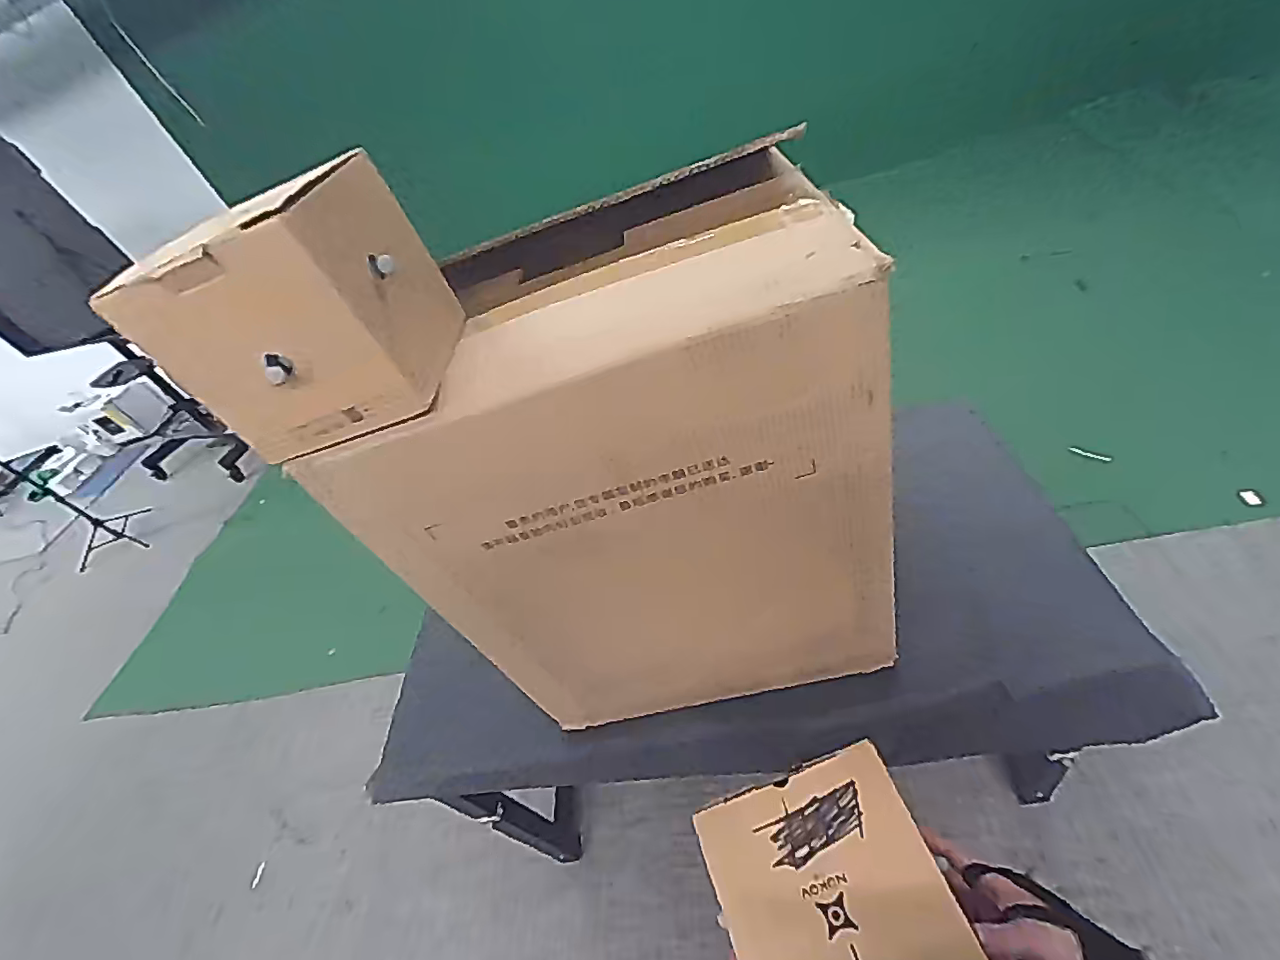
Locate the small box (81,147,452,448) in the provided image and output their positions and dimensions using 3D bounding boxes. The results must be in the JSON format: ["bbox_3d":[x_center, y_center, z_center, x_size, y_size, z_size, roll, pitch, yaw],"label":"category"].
[{"bbox_3d":[-0.289,-0.147,0.471,0.168,0.176,0.179,-16,44,11],"label":"small box"}]
